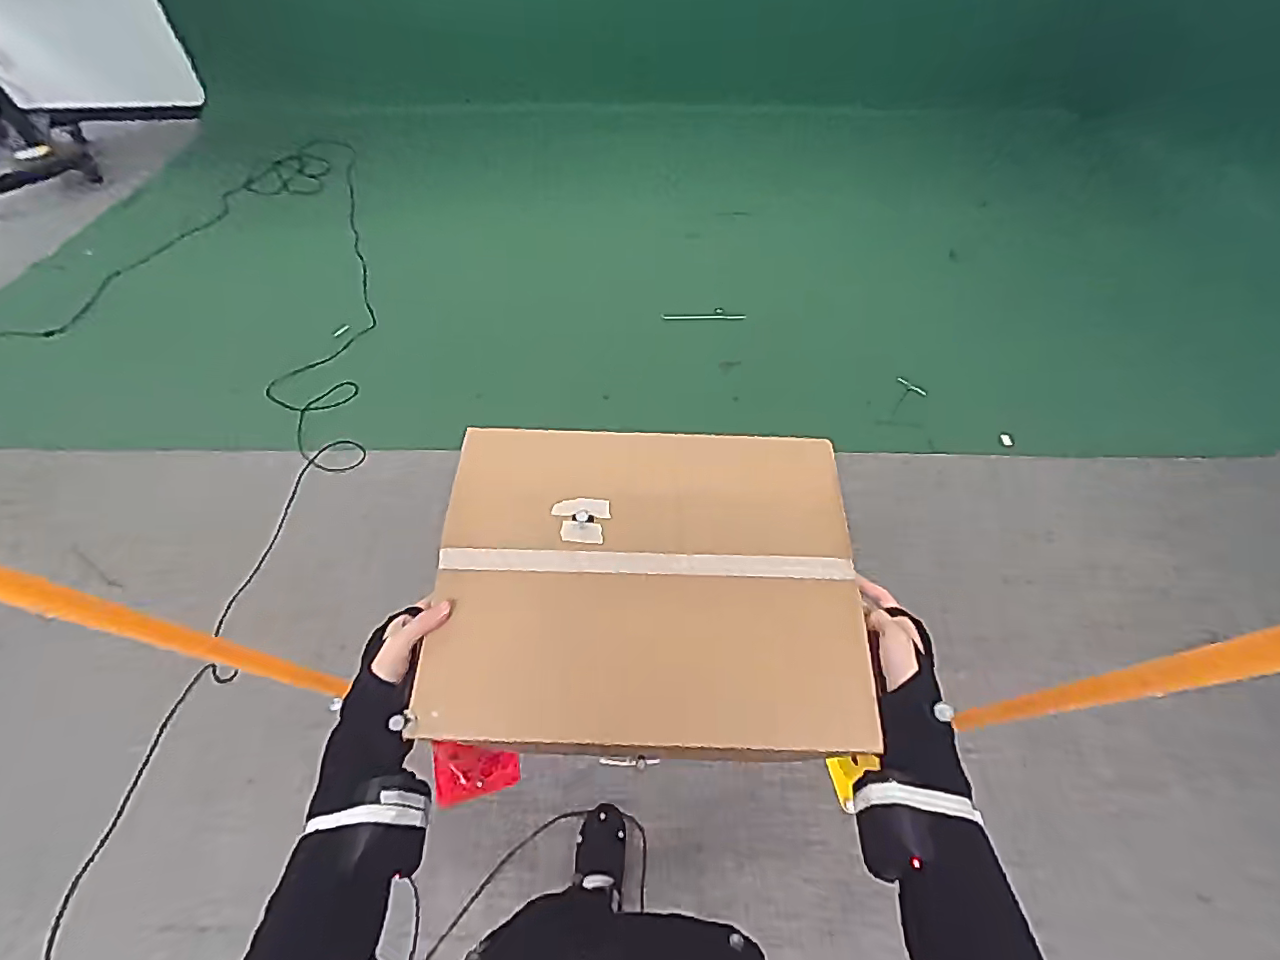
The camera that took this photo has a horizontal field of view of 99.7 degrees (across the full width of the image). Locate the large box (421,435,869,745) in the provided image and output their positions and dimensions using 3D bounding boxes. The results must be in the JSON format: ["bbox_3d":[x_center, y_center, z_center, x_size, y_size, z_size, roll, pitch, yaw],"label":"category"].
[{"bbox_3d":[0.009,0.155,0.674,0.408,0.320,0.320,2,61,1],"label":"large box"}]
